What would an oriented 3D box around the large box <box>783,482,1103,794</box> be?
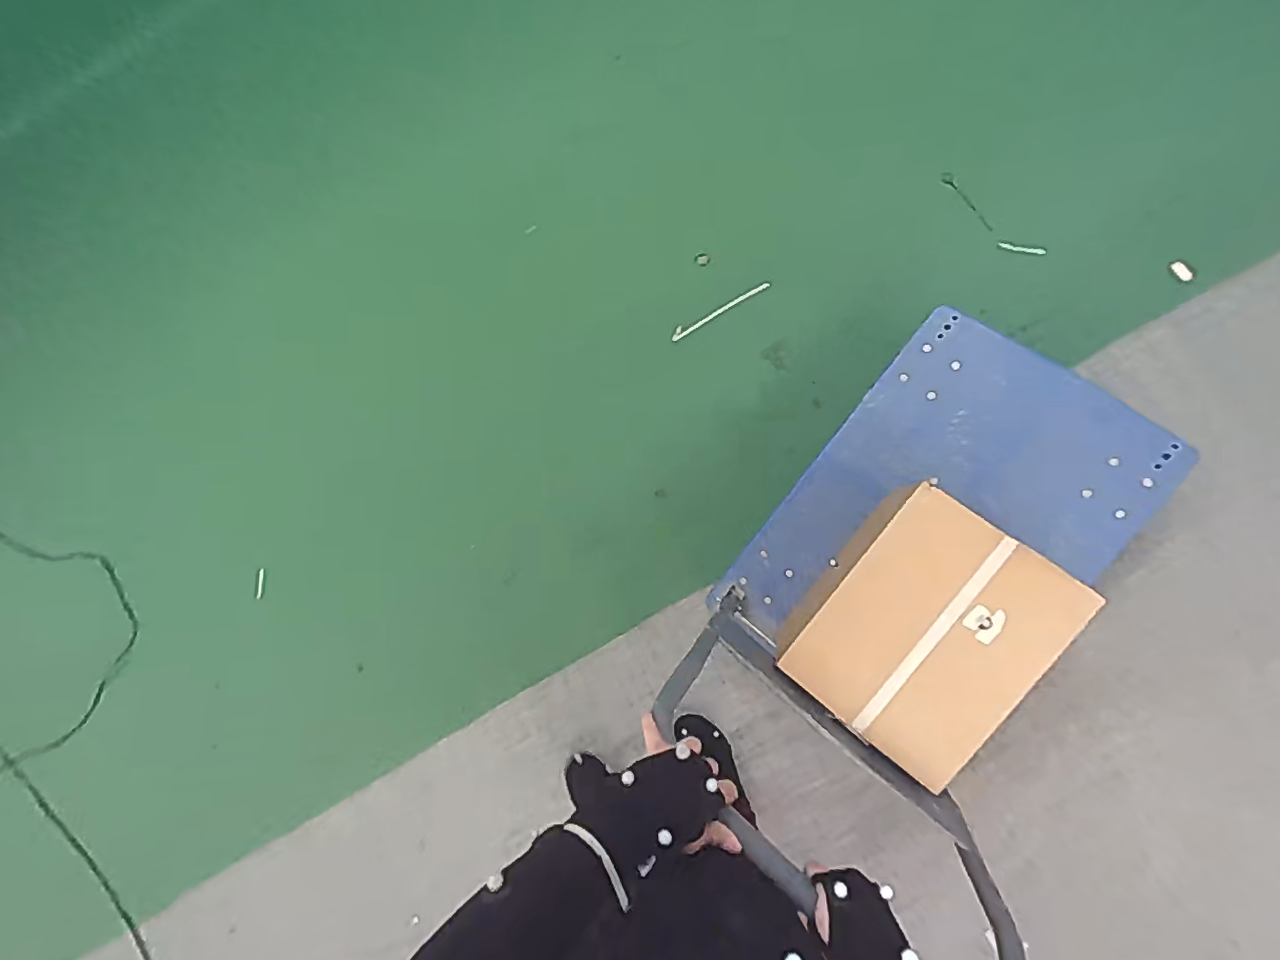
[{"bbox_3d":[0.511,0.265,1.016,0.320,0.320,0.408,38,94,14],"label":"large box"}]
